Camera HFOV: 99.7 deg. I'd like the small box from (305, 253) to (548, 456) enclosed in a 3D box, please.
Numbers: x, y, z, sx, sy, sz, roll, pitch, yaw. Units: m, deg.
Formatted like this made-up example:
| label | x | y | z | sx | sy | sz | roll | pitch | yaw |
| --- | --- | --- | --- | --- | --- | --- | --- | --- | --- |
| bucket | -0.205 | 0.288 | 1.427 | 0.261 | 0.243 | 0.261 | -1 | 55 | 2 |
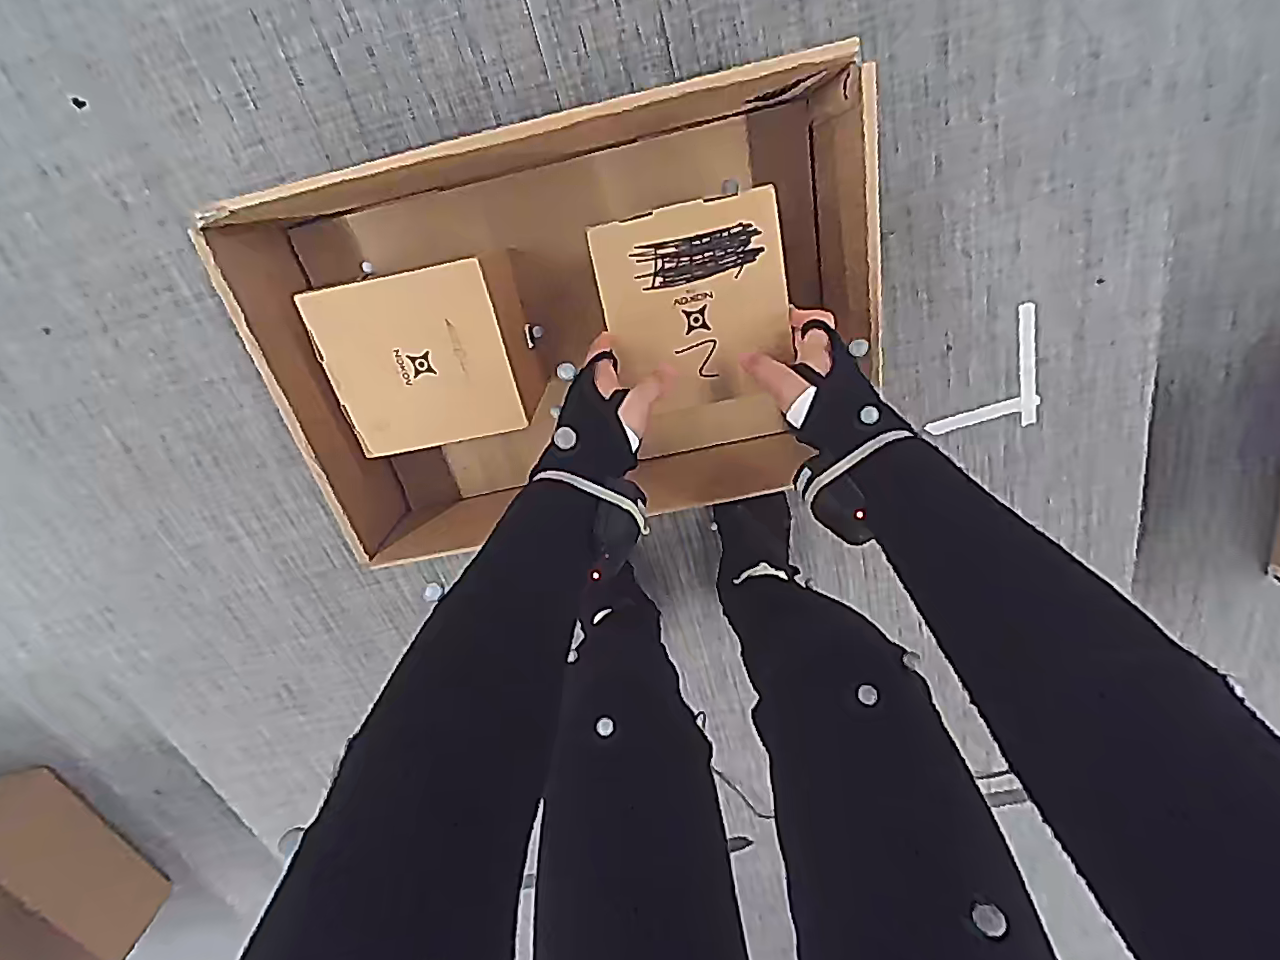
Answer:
| label | x | y | z | sx | sy | sz | roll | pitch | yaw |
| --- | --- | --- | --- | --- | --- | --- | --- | --- | --- |
| small box | -0.213 | -0.145 | 0.597 | 0.179 | 0.176 | 0.168 | -11 | 117 | 3 |
